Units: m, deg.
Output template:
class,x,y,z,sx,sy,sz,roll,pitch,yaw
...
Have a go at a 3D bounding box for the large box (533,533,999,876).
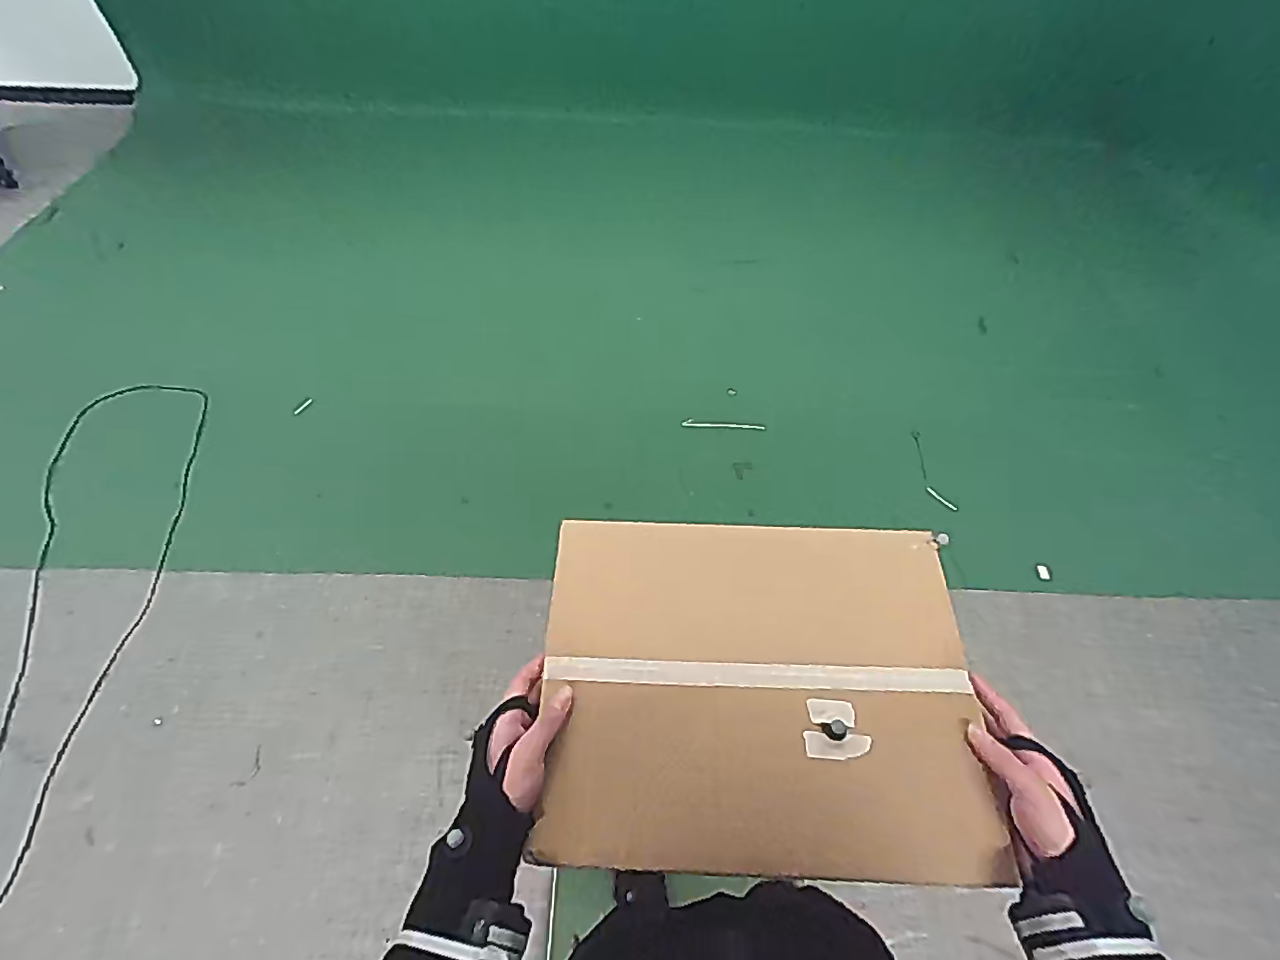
class,x,y,z,sx,sy,sz,roll,pitch,yaw
large box,0.107,0.269,0.656,0.408,0.320,0.320,1,61,1
